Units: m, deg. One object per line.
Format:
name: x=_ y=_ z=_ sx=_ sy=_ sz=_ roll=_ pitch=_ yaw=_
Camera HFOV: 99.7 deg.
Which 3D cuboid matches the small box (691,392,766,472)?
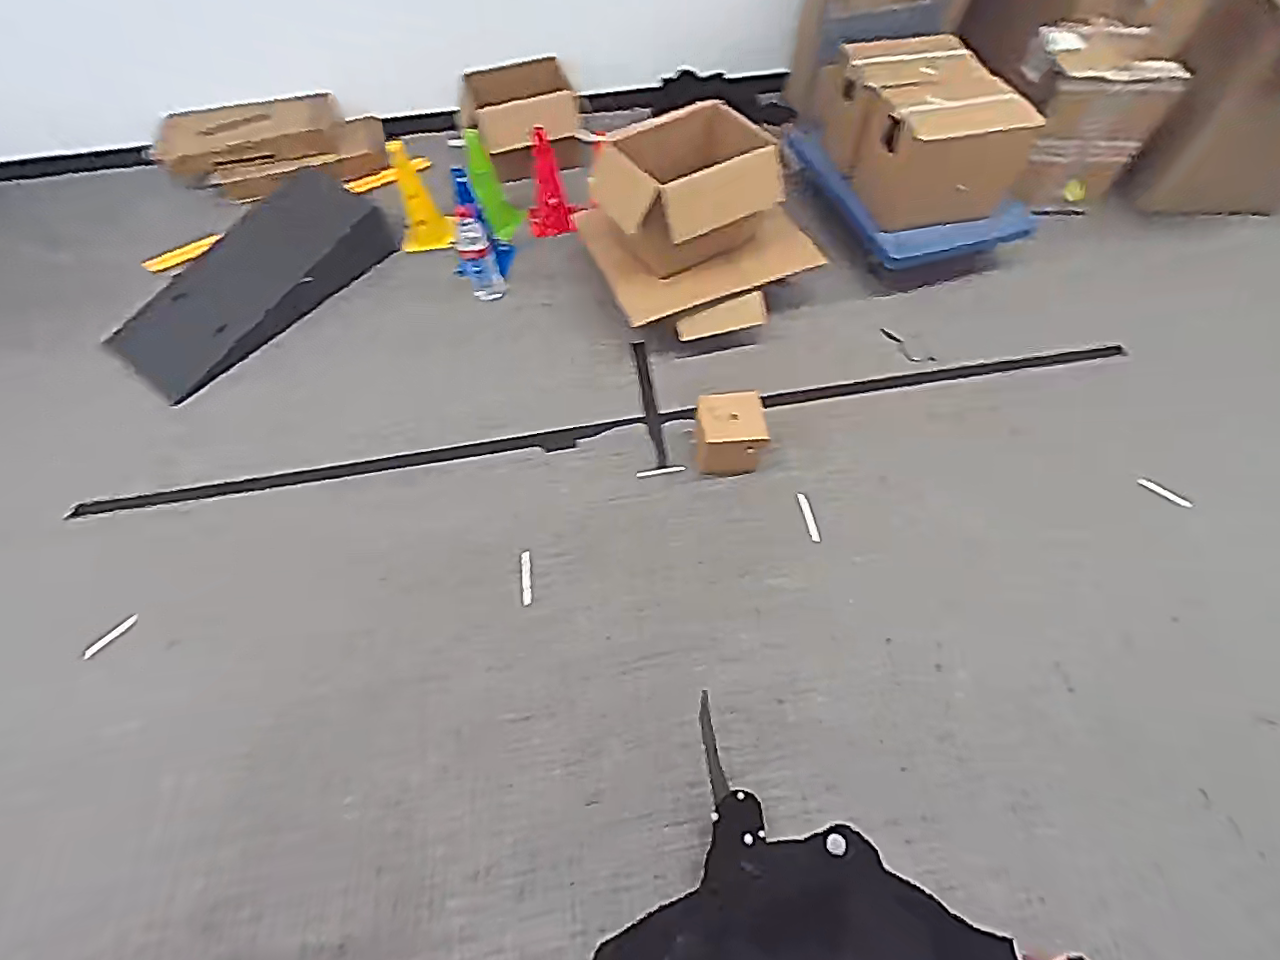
small box: x=0.250 y=-0.136 z=1.570 sx=0.179 sy=0.176 sz=0.168 roll=-5 pitch=60 yaw=-2
